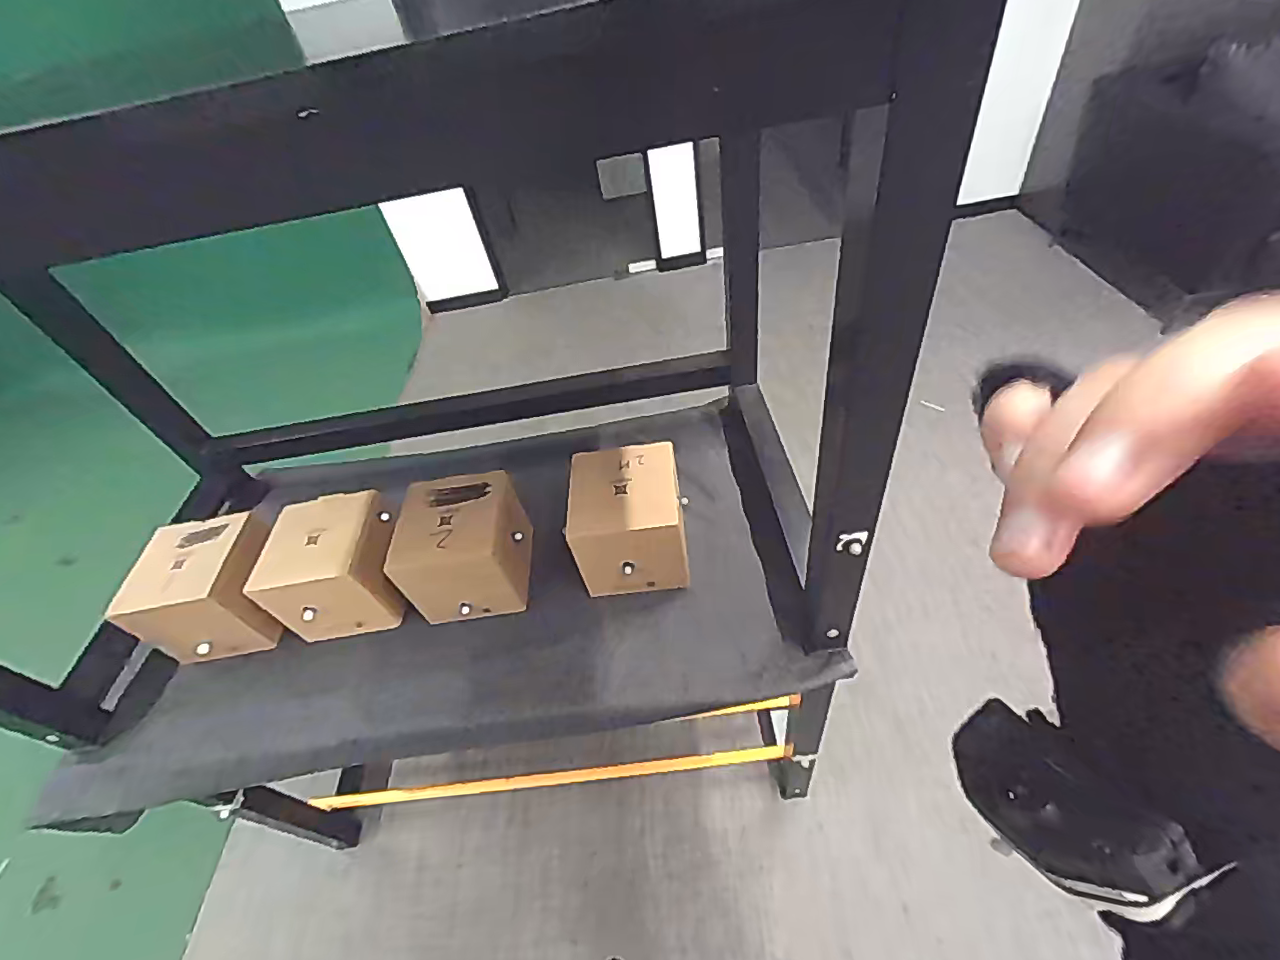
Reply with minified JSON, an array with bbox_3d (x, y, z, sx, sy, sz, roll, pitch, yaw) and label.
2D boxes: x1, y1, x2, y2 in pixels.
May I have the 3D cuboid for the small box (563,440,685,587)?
[{"bbox_3d":[-0.018,0.062,0.881,0.168,0.176,0.179,-6,46,6],"label":"small box"}]

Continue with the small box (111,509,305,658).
[{"bbox_3d":[-0.717,0.179,0.928,0.168,0.176,0.179,-11,46,2],"label":"small box"}]
